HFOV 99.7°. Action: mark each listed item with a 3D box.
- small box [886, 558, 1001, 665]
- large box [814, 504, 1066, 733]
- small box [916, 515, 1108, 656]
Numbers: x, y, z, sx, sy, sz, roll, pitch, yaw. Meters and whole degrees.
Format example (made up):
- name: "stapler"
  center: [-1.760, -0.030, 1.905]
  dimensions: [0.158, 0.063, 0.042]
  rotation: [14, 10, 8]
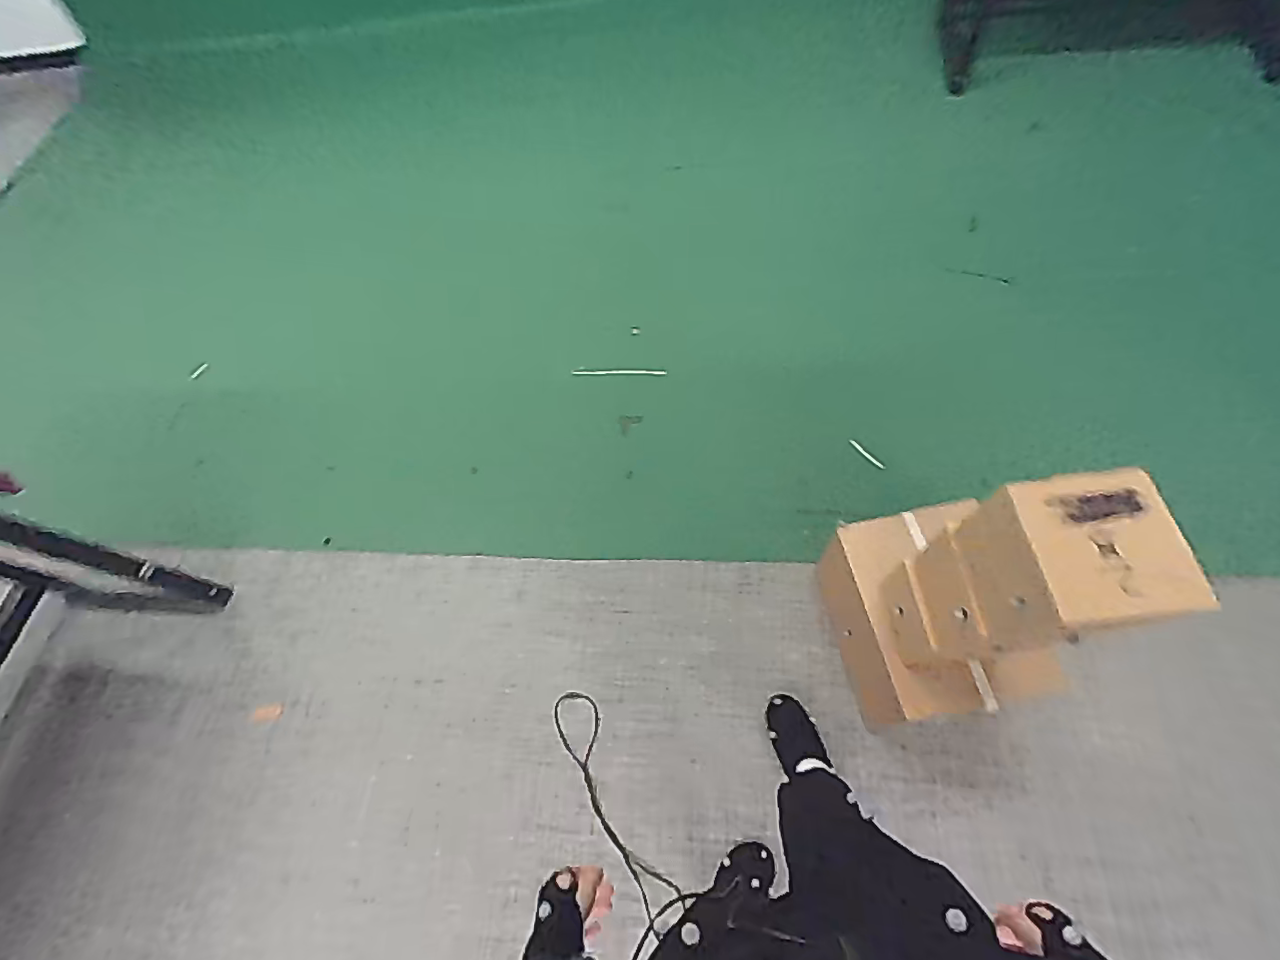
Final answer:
- name: "small box"
  center: [0.574, 0.241, 0.997]
  dimensions: [0.179, 0.176, 0.168]
  rotation: [-7, 63, 4]
- name: "large box"
  center: [0.628, 0.322, 1.226]
  dimensions: [0.320, 0.320, 0.408]
  rotation: [-11, 61, 0]
- name: "small box"
  center: [0.562, 0.171, 0.851]
  dimensions: [0.168, 0.176, 0.179]
  rotation: [-5, 64, 5]
